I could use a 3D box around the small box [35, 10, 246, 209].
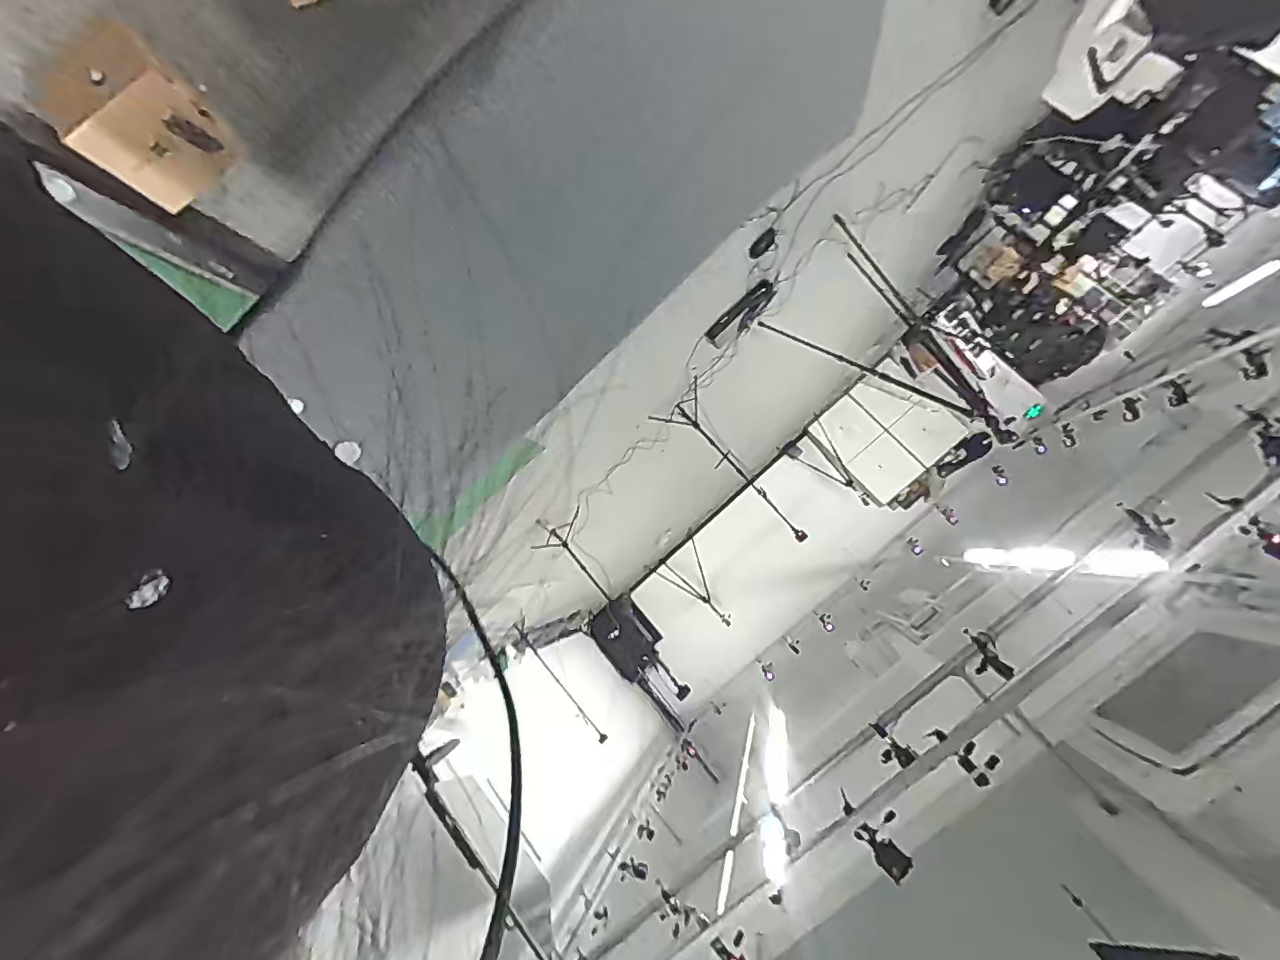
[{"bbox_3d":[-0.811,-0.599,0.881,0.179,0.176,0.168,-41,165,1],"label":"small box"}]
